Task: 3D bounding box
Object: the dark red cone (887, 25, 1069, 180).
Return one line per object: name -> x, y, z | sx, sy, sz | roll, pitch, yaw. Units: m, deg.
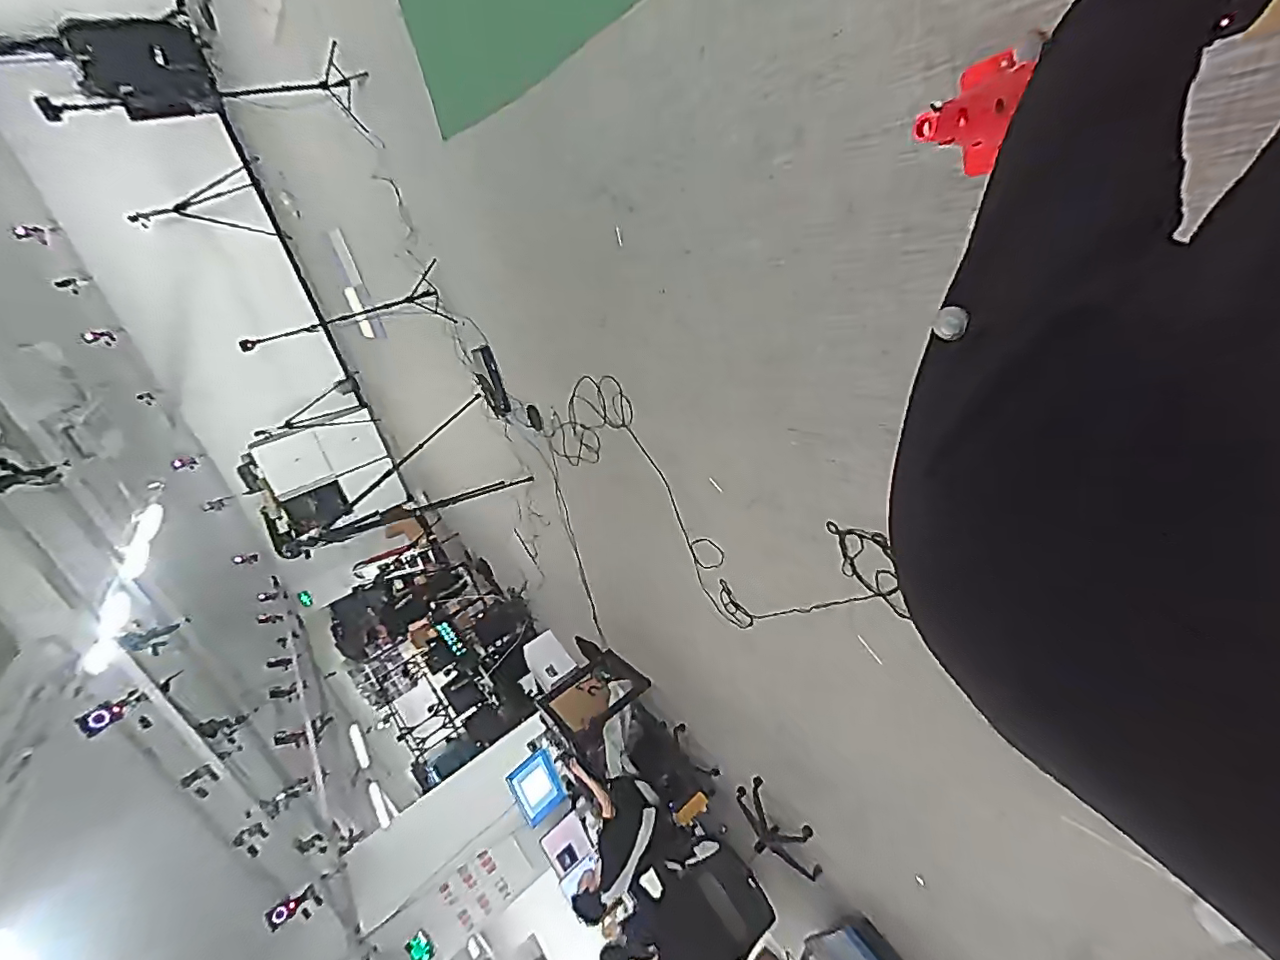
dark red cone -> 0.565, -0.642, 0.946 | 0.202, 0.394, 0.201 | 12, 122, 56
